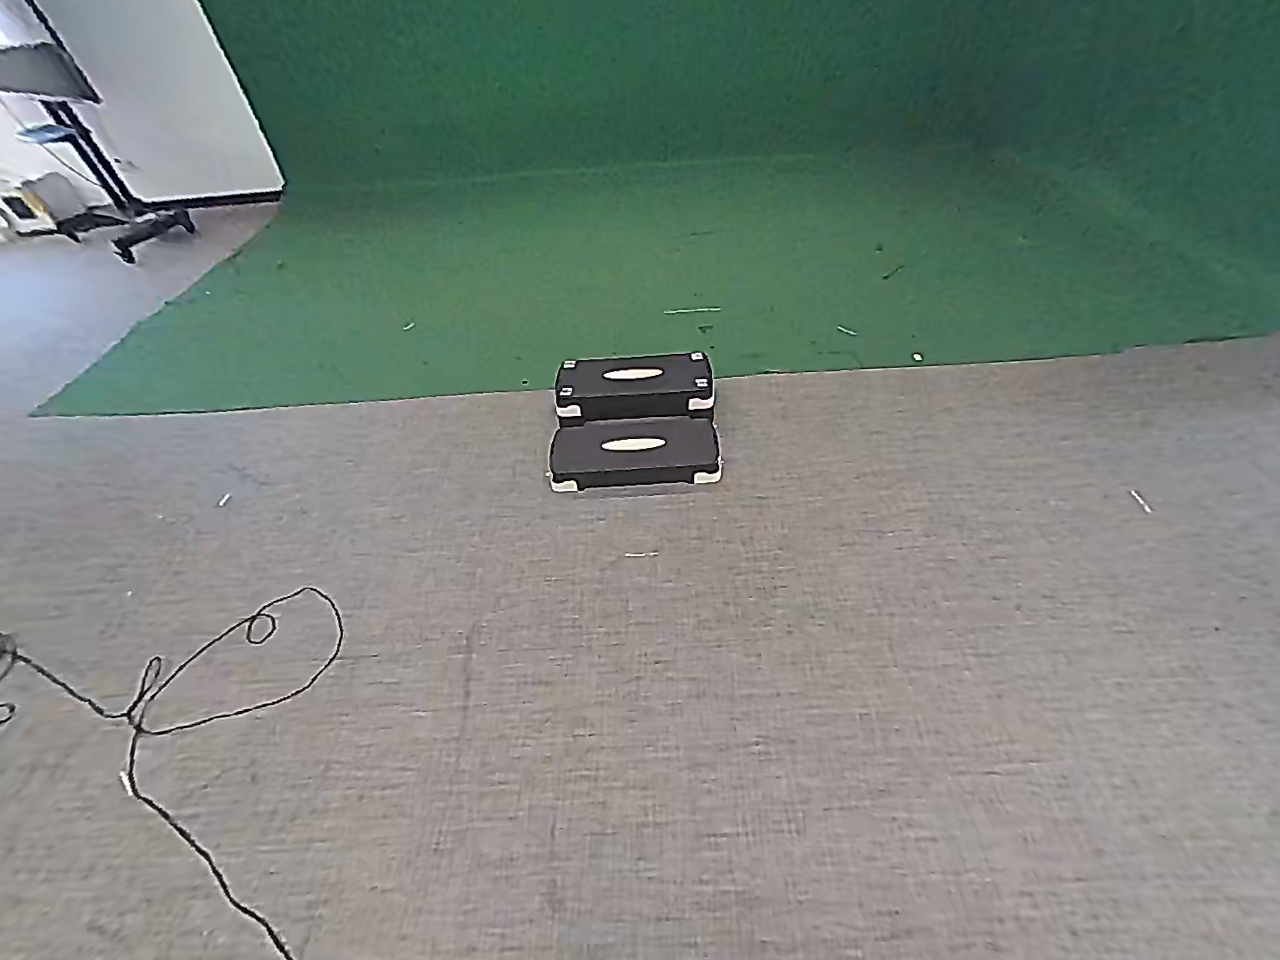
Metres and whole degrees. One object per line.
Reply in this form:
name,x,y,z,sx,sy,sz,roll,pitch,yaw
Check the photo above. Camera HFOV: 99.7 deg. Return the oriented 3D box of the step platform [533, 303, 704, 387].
step platform,-0.081,-0.556,2.224,0.684,0.204,0.286,-4,46,2
